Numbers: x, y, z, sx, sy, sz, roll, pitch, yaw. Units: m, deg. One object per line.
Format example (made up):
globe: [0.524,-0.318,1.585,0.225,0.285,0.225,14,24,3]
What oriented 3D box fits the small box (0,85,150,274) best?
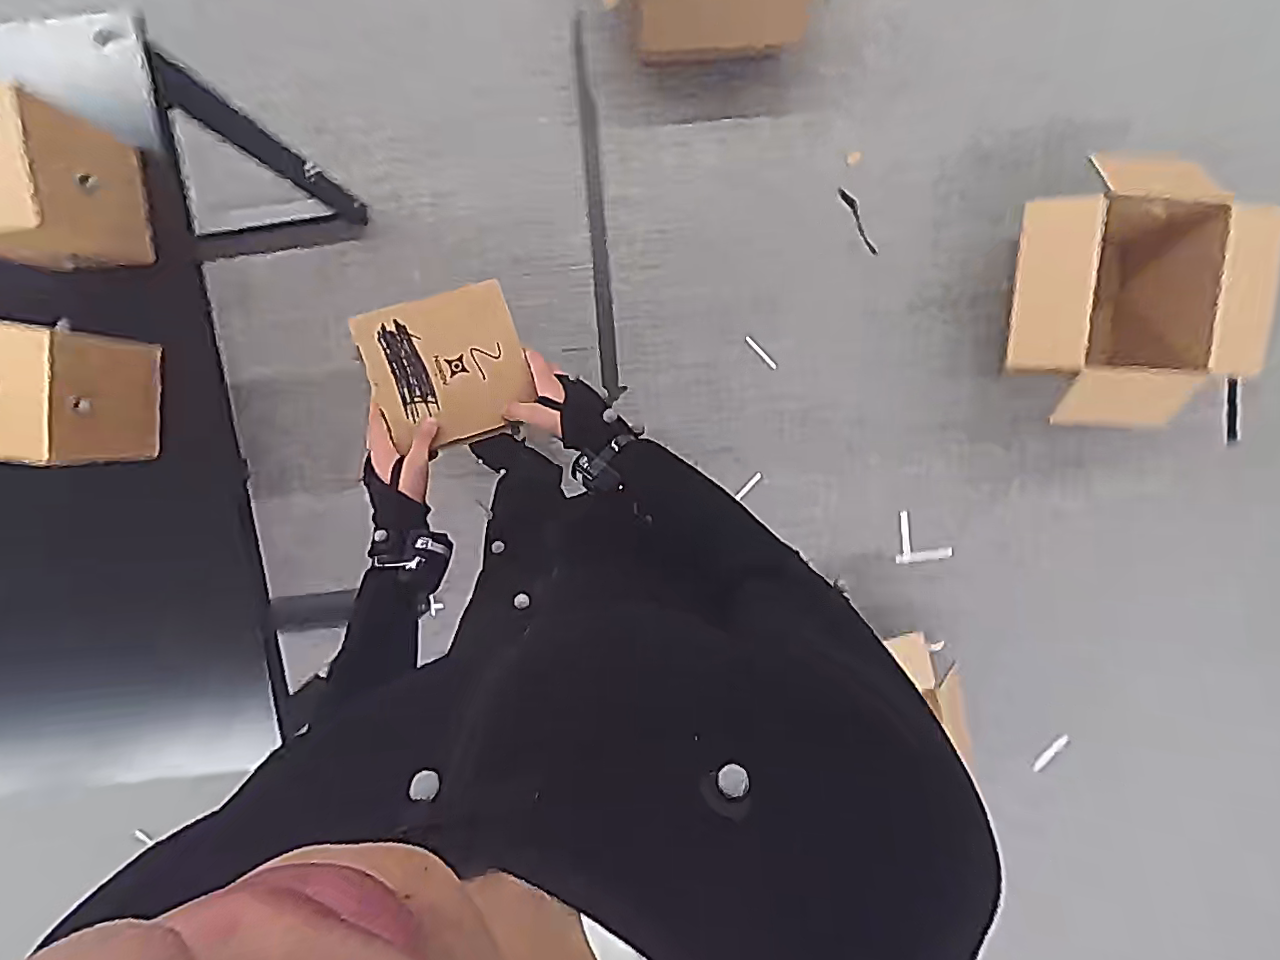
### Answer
small box: [-0.837,-0.398,0.743,0.168,0.176,0.179,-4,99,1]

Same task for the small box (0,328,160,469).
small box: [-0.845,-0.120,0.782,0.168,0.176,0.179,7,98,0]
